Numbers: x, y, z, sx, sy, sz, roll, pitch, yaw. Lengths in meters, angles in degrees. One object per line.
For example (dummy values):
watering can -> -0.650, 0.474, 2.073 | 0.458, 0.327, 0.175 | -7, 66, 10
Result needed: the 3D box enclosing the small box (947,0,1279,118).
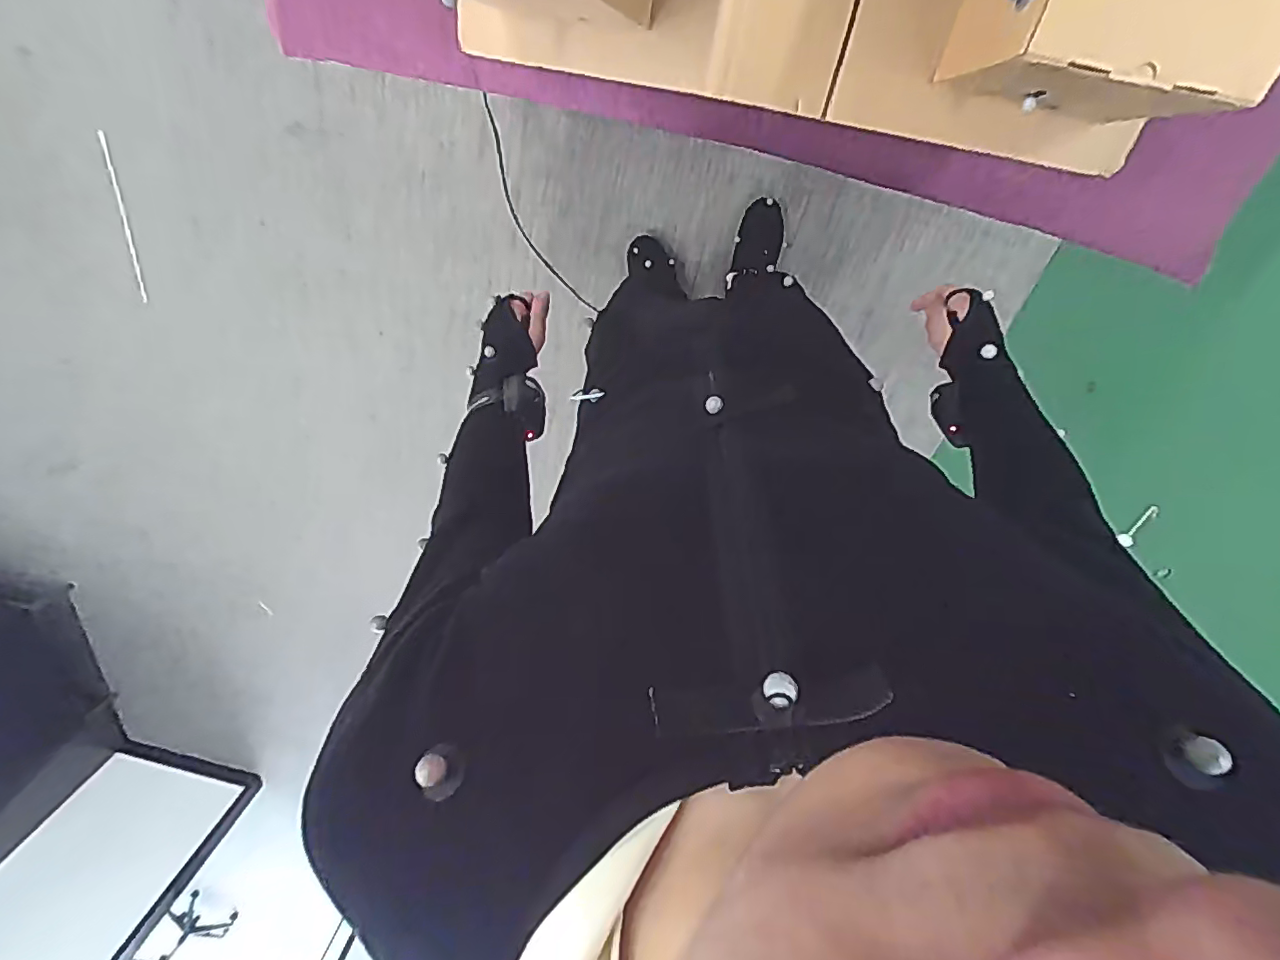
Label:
small box -> 0.357, -0.378, 0.383 | 0.168, 0.176, 0.179 | 11, 122, -1
